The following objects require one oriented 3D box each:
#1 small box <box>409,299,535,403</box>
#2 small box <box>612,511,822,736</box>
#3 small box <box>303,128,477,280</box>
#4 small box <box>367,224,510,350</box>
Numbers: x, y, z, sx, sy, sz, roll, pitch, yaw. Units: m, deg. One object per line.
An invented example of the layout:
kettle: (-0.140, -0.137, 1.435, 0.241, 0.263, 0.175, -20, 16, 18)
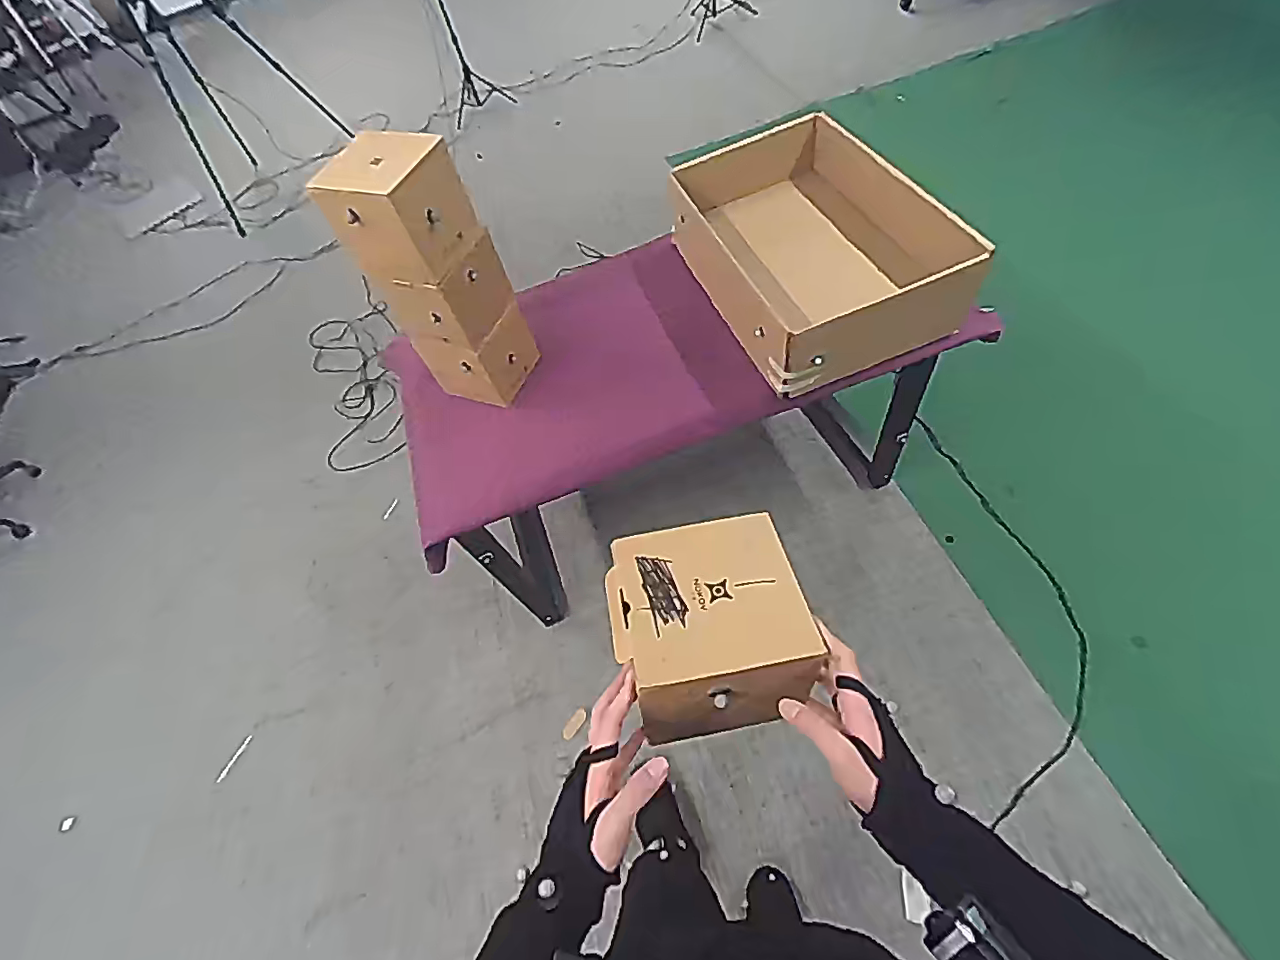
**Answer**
small box: (-0.358, -0.292, 1.194, 0.179, 0.176, 0.168, 15, 62, 19)
small box: (0.072, 0.160, 0.590, 0.179, 0.176, 0.168, -9, 49, -4)
small box: (-0.411, -0.466, 0.925, 0.179, 0.176, 0.168, 14, 63, 18)
small box: (-0.381, -0.382, 1.060, 0.168, 0.176, 0.179, 16, 63, 18)
